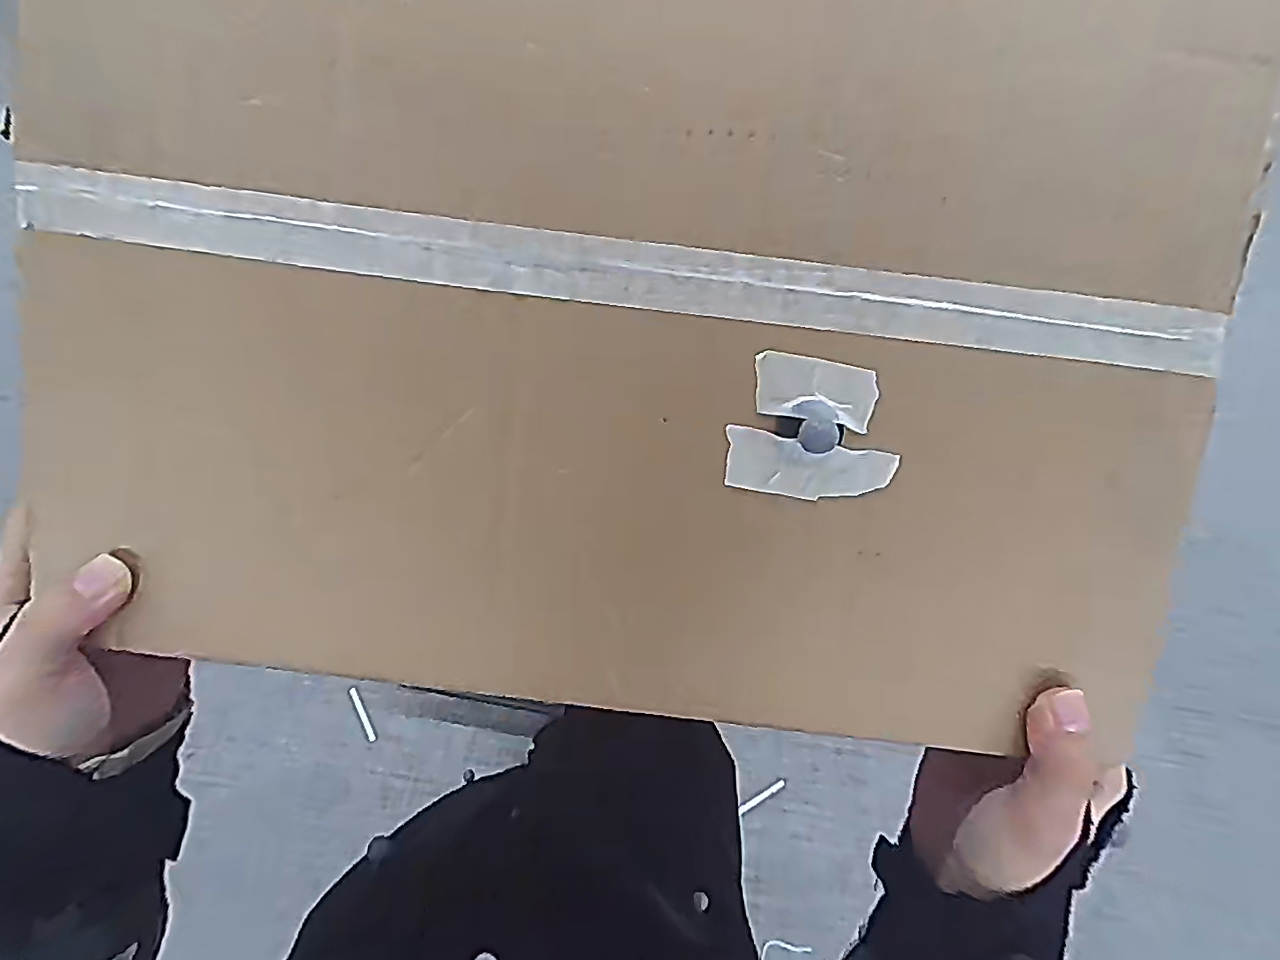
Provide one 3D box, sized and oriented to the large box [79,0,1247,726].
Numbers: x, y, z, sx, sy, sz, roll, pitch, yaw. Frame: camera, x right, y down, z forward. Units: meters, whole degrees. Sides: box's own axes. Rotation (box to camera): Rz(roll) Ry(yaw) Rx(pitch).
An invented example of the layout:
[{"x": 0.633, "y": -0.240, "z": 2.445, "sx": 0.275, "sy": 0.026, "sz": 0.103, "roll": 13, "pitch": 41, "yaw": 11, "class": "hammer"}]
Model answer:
[{"x": -0.002, "y": -0.086, "z": 0.346, "sx": 0.408, "sy": 0.320, "sz": 0.320, "roll": 7, "pitch": 97, "yaw": -2, "class": "large box"}]
